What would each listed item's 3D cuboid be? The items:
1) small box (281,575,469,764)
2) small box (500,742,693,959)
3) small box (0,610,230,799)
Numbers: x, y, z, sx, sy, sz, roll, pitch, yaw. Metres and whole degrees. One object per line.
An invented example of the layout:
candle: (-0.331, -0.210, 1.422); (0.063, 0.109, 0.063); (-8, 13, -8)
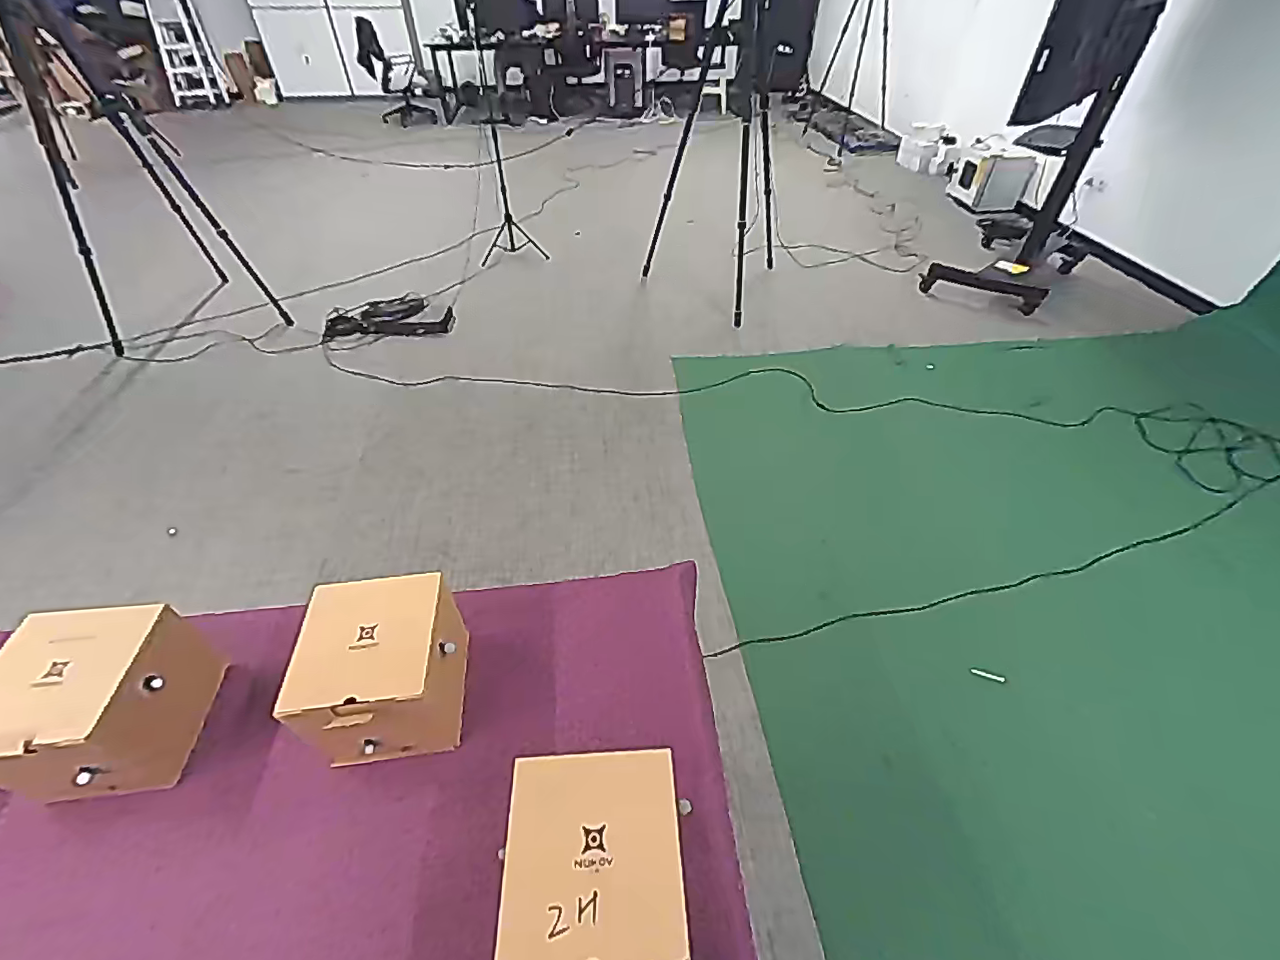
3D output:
small box: (-0.335, 0.254, 0.727); (0.168, 0.176, 0.179); (-6, 46, -5)
small box: (-0.039, 0.400, 0.568); (0.168, 0.176, 0.179); (-3, 45, -1)
small box: (-0.681, 0.292, 0.696); (0.168, 0.176, 0.179); (-4, 45, -4)
